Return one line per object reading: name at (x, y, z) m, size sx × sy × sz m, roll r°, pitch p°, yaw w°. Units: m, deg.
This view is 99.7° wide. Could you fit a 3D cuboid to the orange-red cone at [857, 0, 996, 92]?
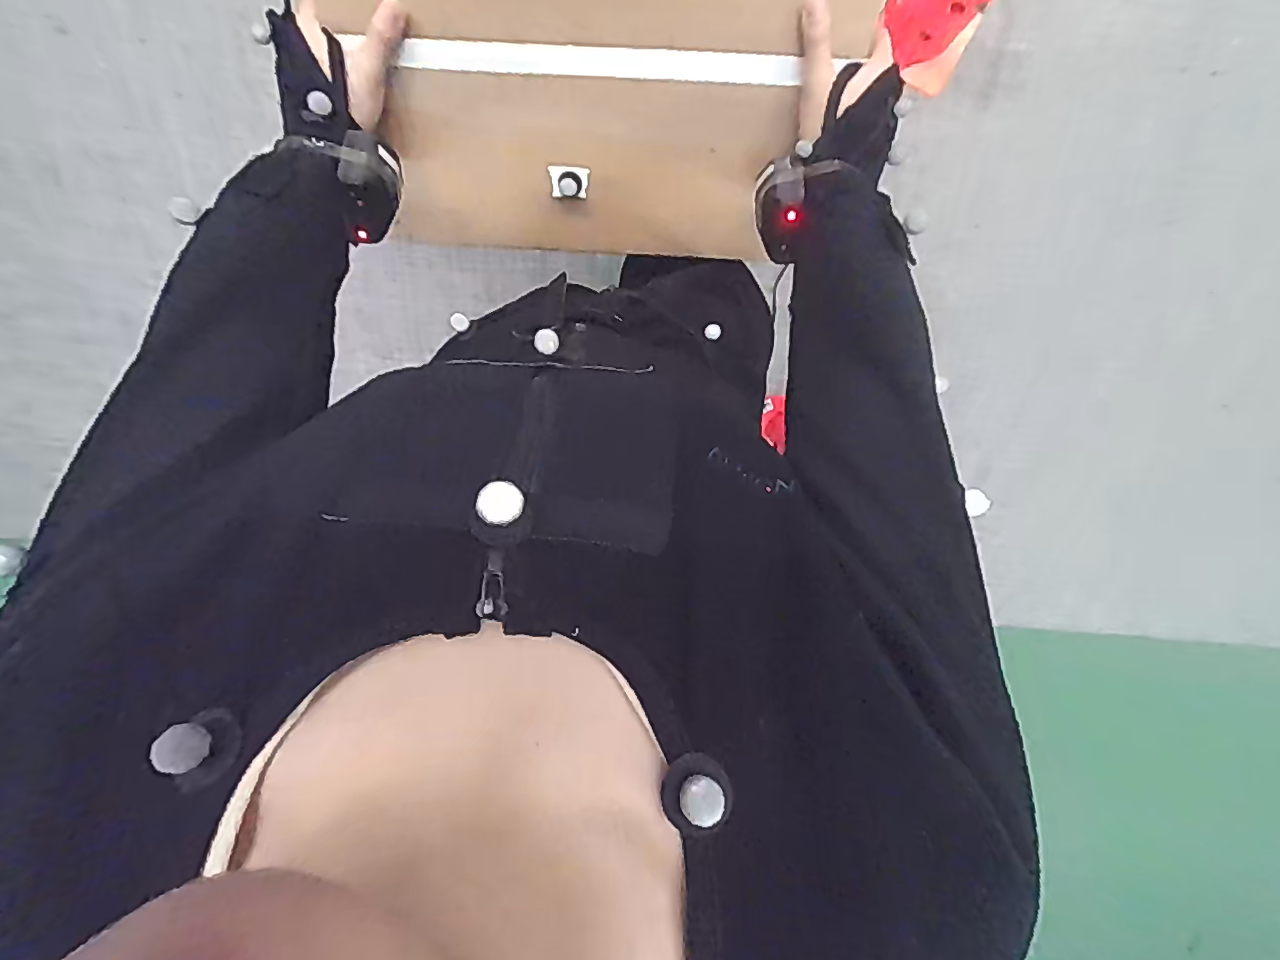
orange-red cone at (0.507, -0.760, 0.808) m, size 0.199 × 0.360 × 0.198 m, roll 23°, pitch 116°, yaw -9°
